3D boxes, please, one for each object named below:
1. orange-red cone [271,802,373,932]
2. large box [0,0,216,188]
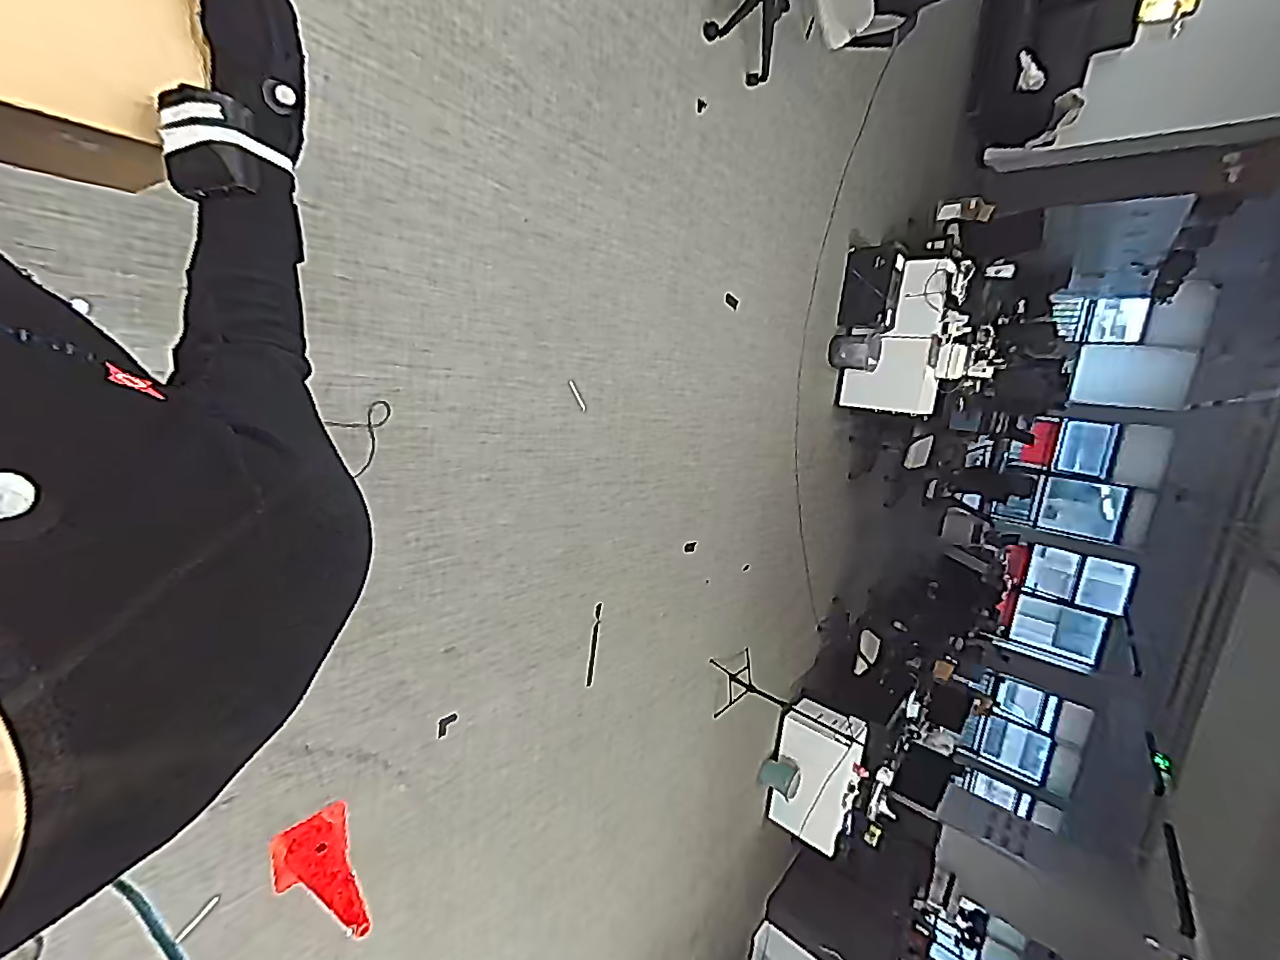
[{"bbox_3d":[-0.841,1.109,1.491,0.198,0.360,0.199,-11,108,-50],"label":"orange-red cone"},{"bbox_3d":[-0.558,-0.412,0.326,0.408,0.320,0.320,-10,112,-51],"label":"large box"}]
